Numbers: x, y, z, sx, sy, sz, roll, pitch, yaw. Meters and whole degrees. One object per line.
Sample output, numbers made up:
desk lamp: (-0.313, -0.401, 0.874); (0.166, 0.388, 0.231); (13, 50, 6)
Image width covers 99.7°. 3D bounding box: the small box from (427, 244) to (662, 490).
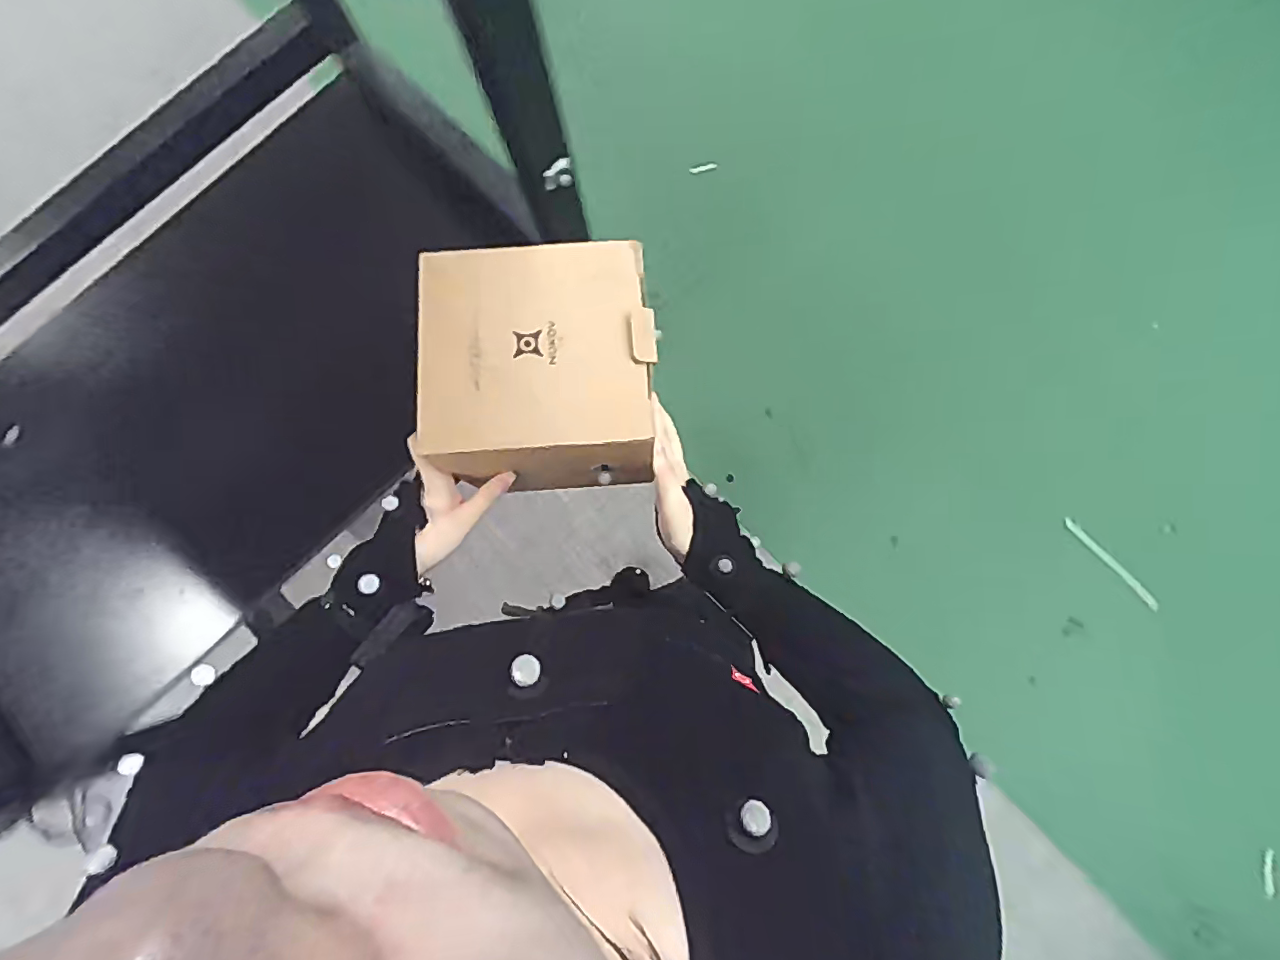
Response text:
small box: (-0.075, -0.088, 0.493); (0.179, 0.176, 0.168); (-4, 78, 0)
